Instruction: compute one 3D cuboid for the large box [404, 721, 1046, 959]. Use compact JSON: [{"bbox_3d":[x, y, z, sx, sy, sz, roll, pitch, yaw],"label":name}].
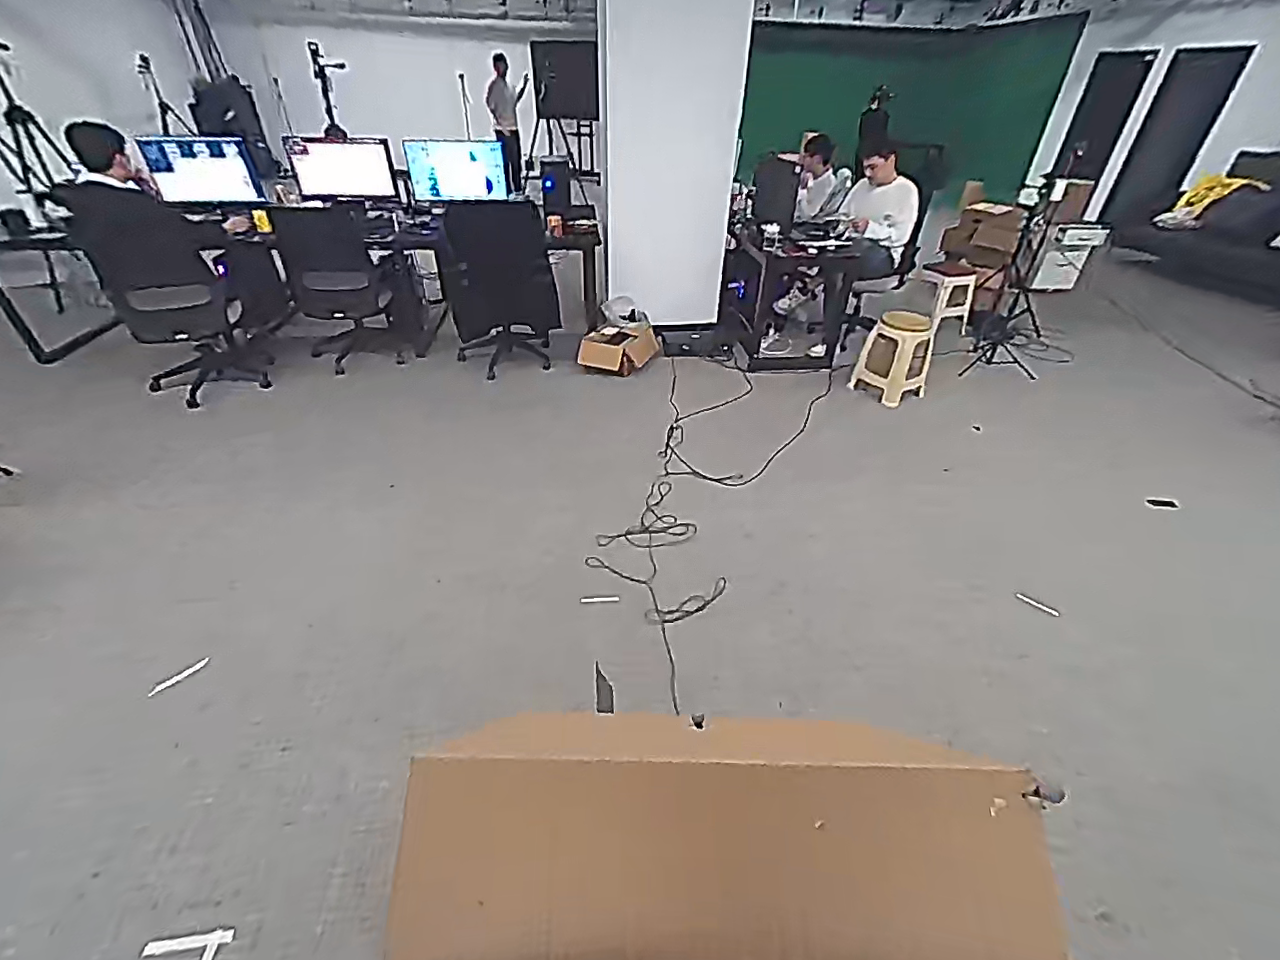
[{"bbox_3d":[0.051,0.386,0.462,0.408,0.320,0.320,0,72,1],"label":"large box"}]
